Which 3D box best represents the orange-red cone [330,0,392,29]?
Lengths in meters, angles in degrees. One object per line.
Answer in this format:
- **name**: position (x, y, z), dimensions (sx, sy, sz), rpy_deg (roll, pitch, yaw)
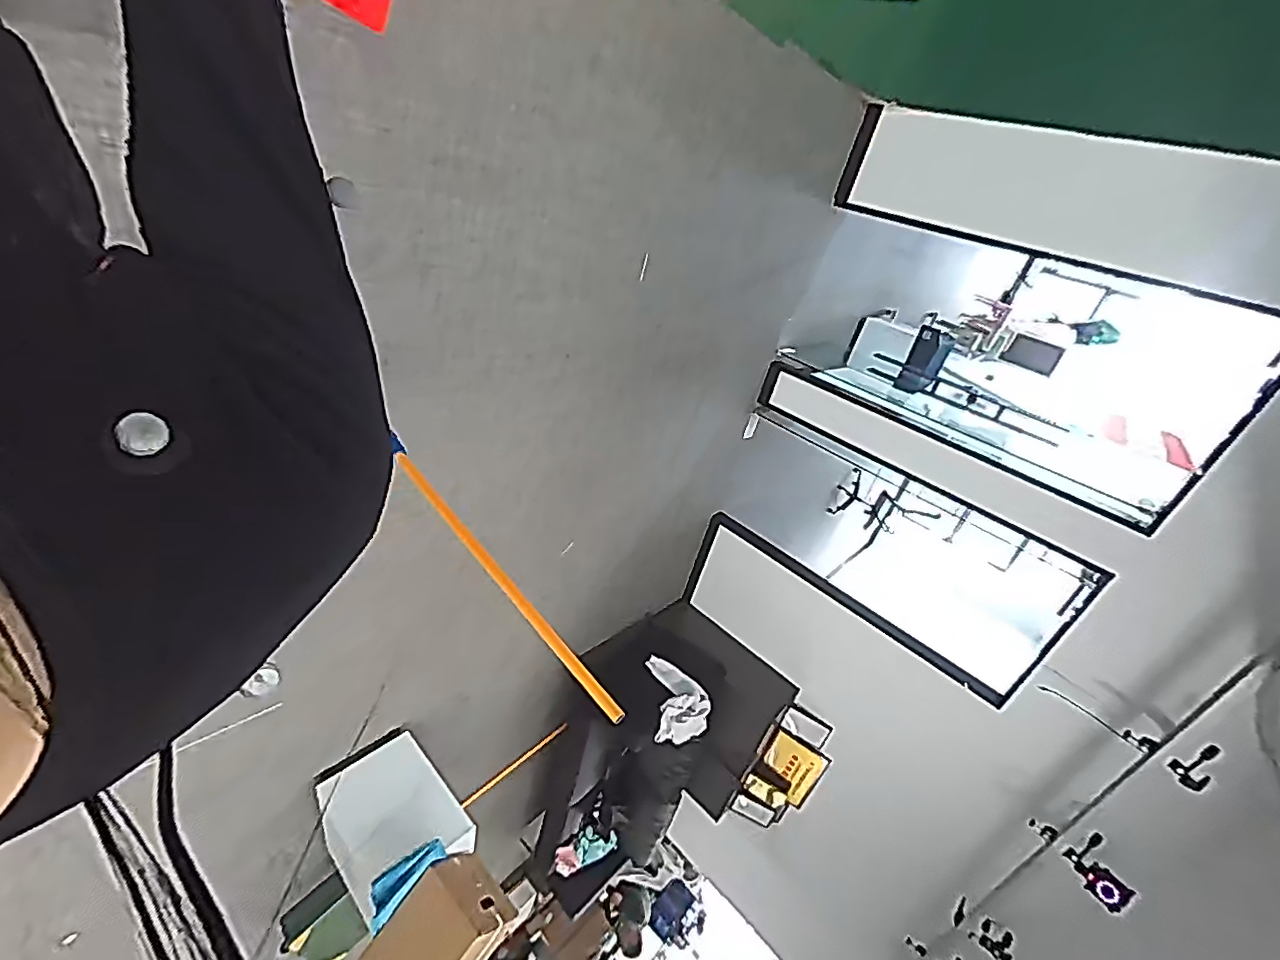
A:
- **orange-red cone**: position (-0.470, -0.986, 1.006), dimensions (0.198, 0.360, 0.199), rpy_deg (-2, 122, -53)
